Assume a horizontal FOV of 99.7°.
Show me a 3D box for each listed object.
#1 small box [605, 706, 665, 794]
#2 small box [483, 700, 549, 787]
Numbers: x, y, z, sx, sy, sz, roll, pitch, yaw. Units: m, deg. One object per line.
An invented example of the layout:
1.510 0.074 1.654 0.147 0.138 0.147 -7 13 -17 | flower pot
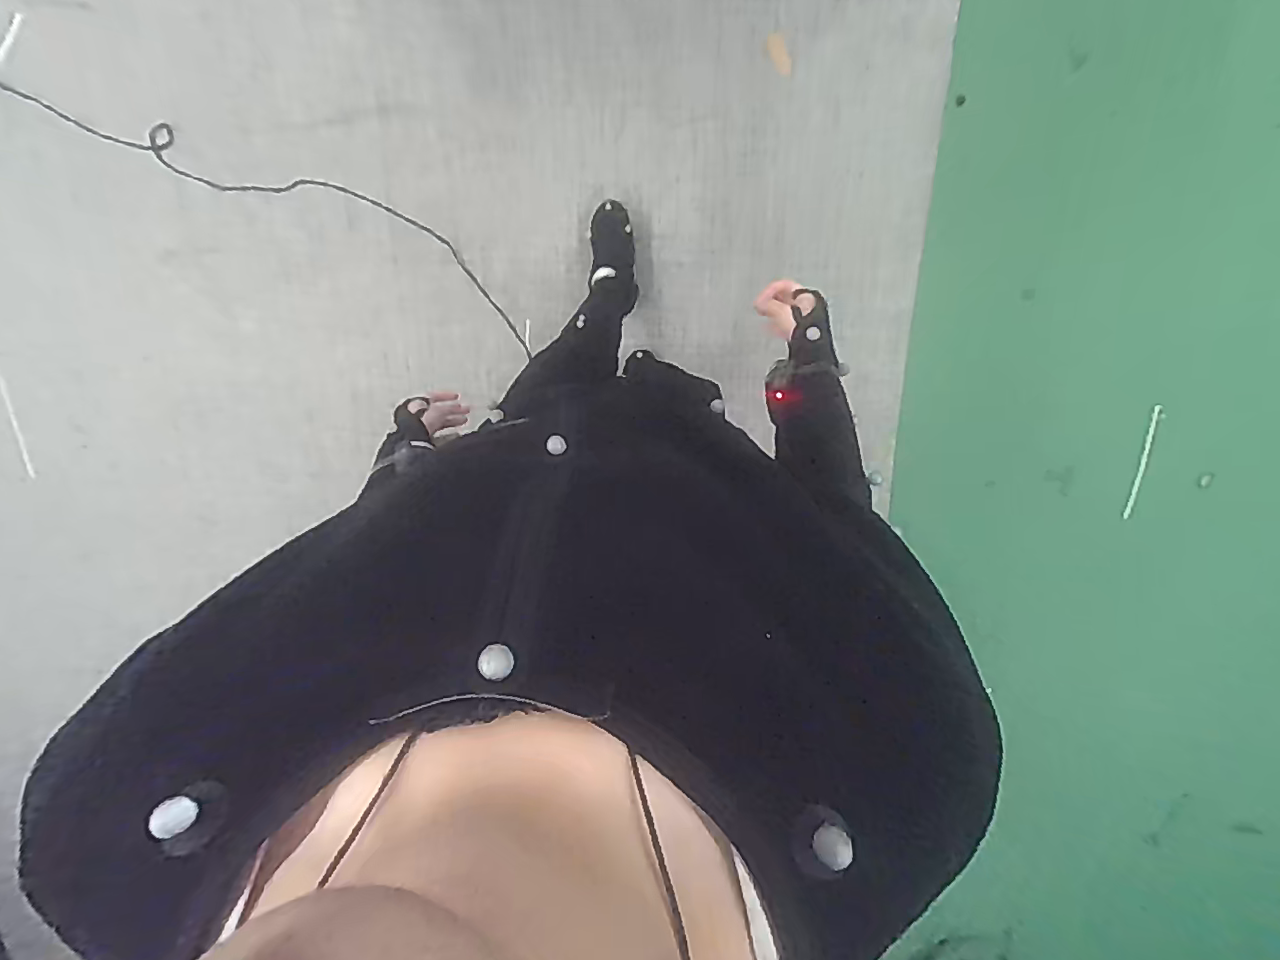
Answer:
-0.013 0.828 1.671 0.168 0.176 0.179 6 107 2 | small box
-0.383 0.815 1.683 0.168 0.176 0.179 5 107 2 | small box
